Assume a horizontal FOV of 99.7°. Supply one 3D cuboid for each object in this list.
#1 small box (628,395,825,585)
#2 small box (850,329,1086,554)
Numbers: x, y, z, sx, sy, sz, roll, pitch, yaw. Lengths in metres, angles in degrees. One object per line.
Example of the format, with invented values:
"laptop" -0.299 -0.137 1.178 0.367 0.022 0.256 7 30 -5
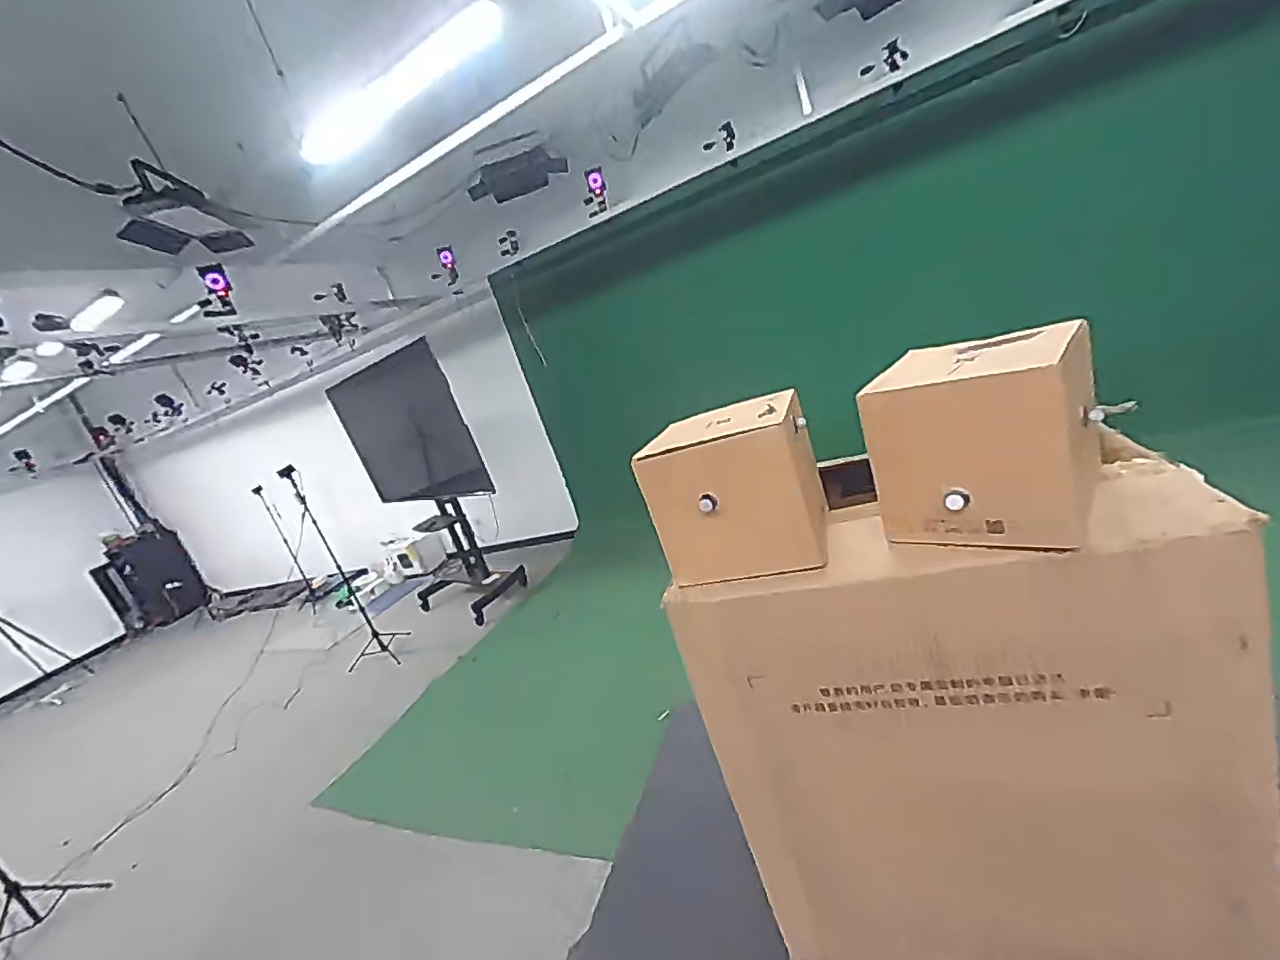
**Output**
"small box" 0.116 0.014 0.670 0.179 0.176 0.168 -15 15 25
"small box" 0.346 -0.040 0.564 0.168 0.176 0.179 -4 21 46
